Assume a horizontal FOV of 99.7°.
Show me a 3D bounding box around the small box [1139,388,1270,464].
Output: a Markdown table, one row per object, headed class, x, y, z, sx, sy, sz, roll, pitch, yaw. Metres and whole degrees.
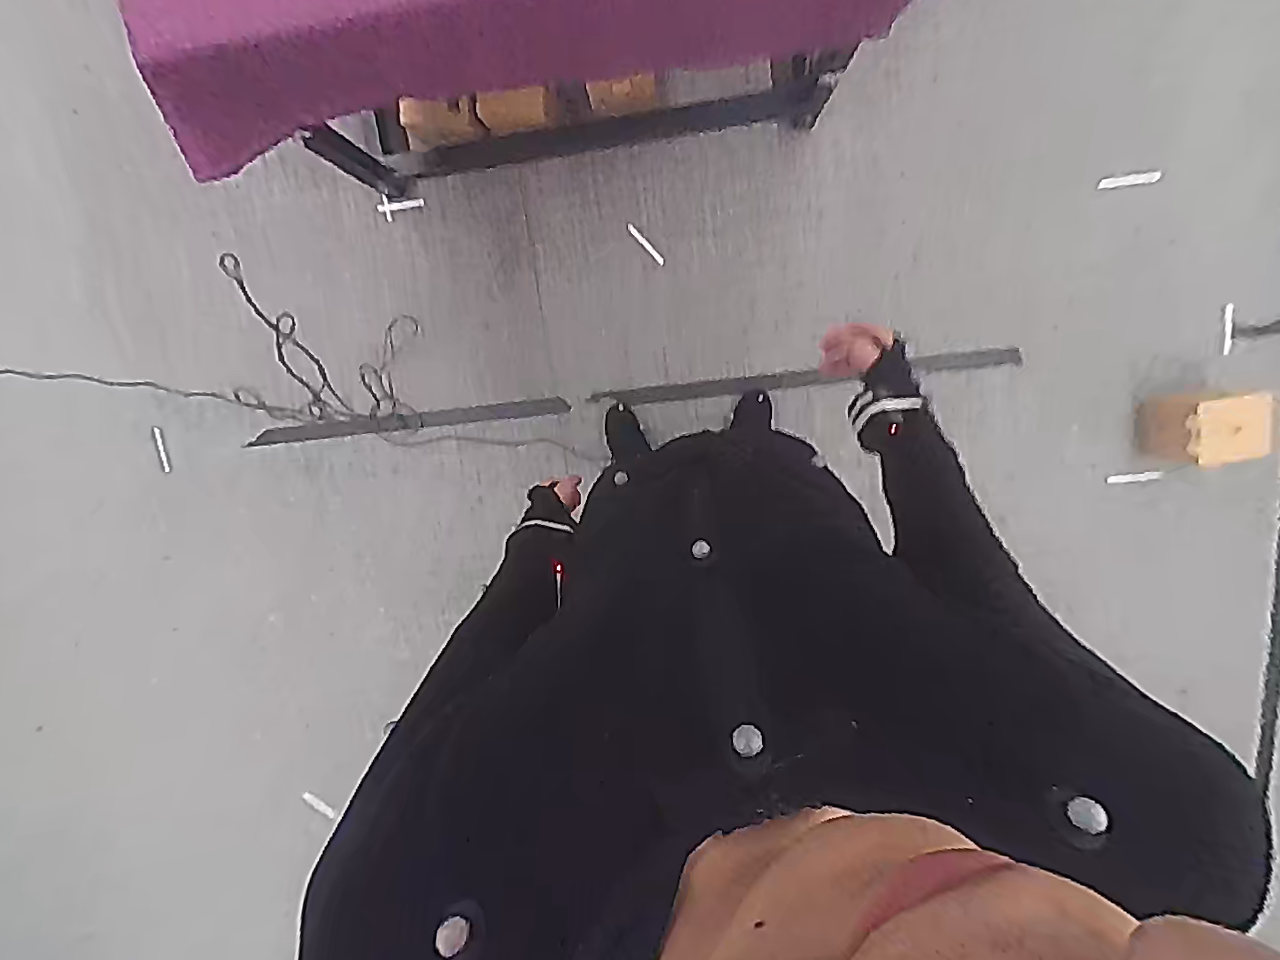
| class | x | y | z | sx | sy | sz | roll | pitch | yaw |
| --- | --- | --- | --- | --- | --- | --- | --- | --- | --- |
| small box | 1.492 | -0.148 | 1.438 | 0.179 | 0.176 | 0.168 | -10 | 101 | 6 |
